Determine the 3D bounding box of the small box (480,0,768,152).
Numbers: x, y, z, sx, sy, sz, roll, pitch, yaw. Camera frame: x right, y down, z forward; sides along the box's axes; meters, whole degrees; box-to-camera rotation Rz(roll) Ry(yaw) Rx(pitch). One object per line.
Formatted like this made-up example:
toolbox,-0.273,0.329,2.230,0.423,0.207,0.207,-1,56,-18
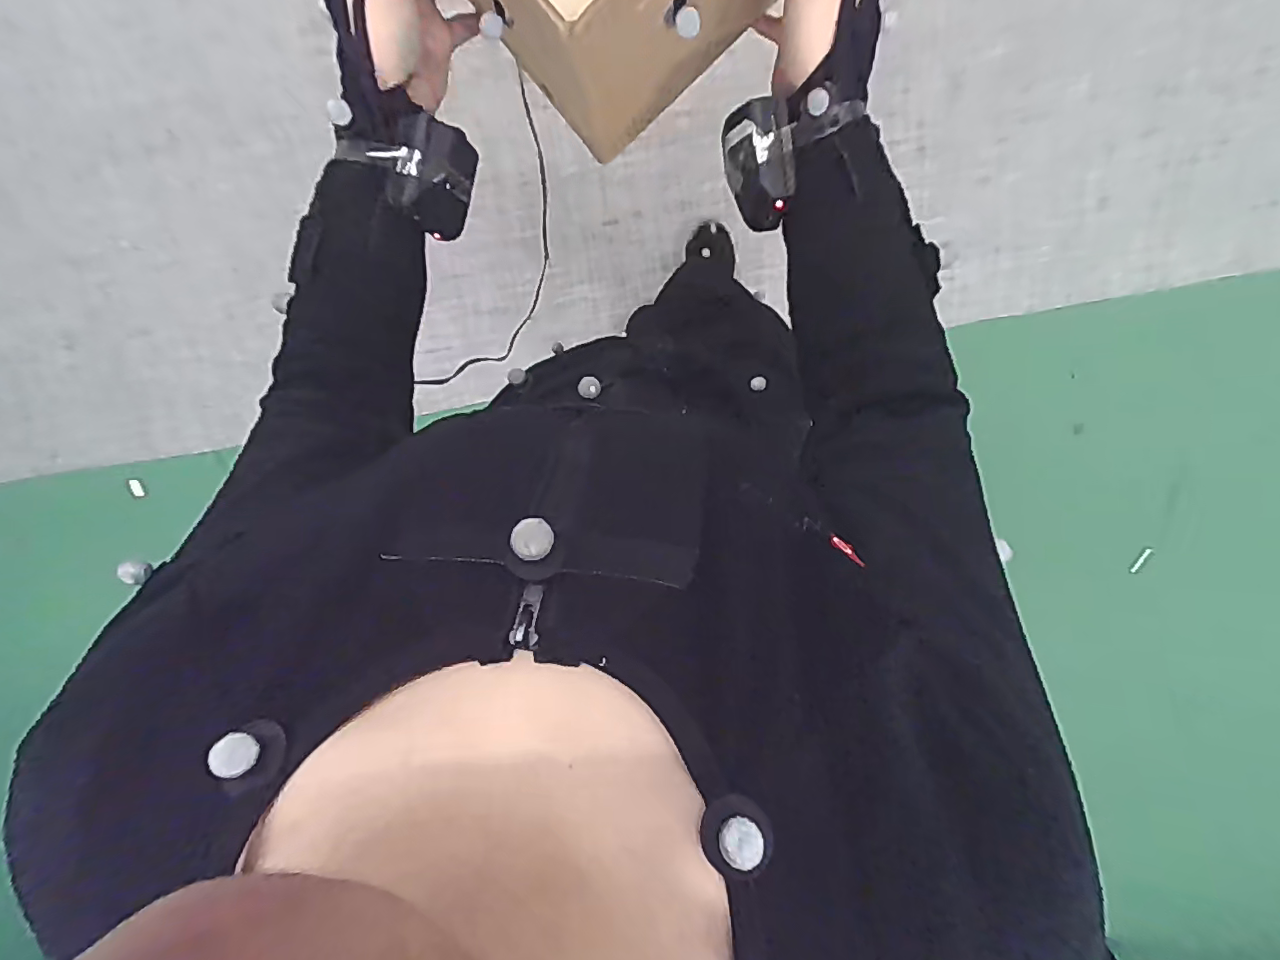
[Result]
small box,-0.018,-0.342,0.318,0.179,0.176,0.168,-40,97,9
